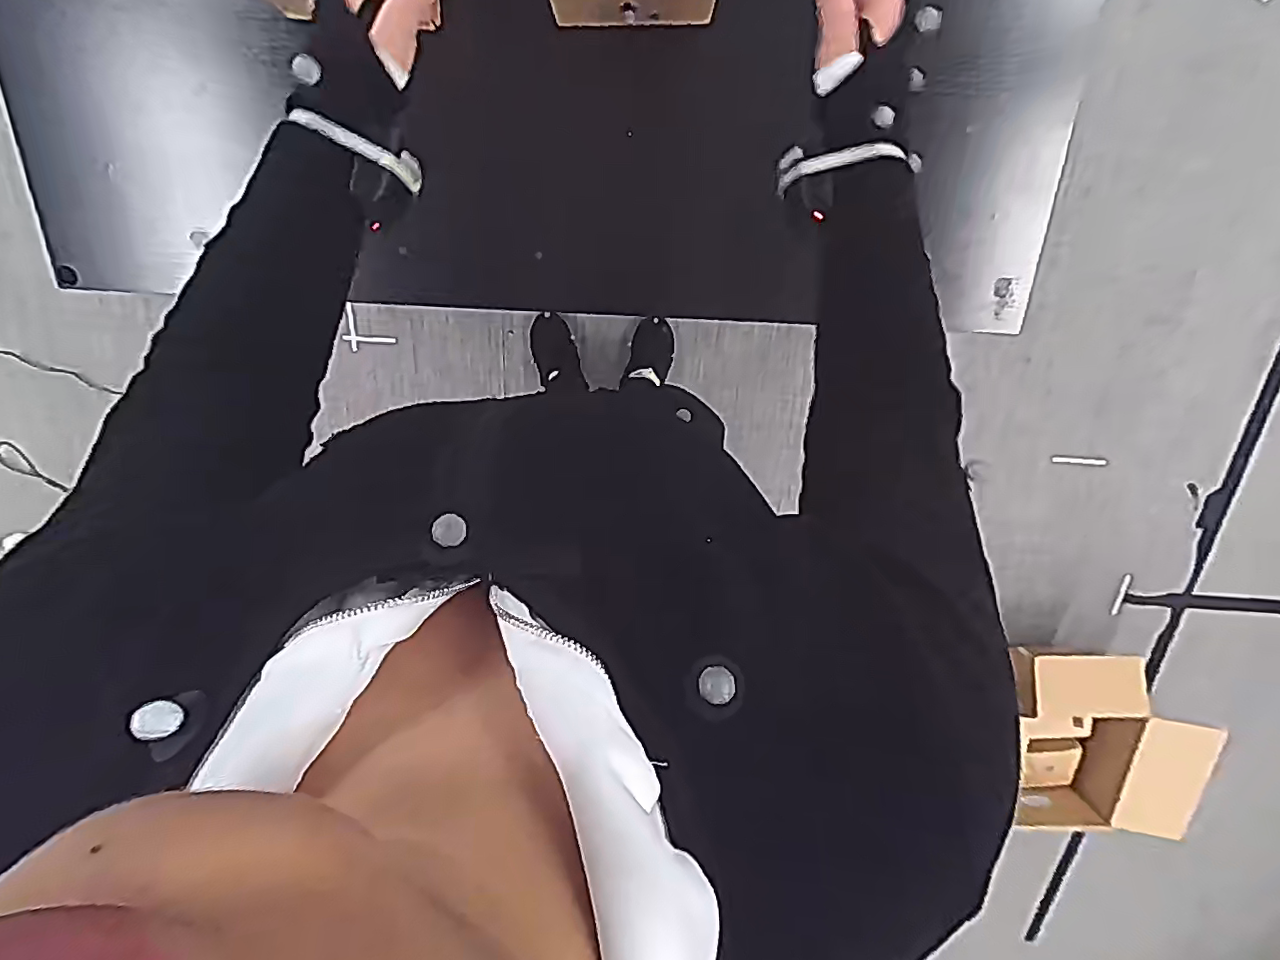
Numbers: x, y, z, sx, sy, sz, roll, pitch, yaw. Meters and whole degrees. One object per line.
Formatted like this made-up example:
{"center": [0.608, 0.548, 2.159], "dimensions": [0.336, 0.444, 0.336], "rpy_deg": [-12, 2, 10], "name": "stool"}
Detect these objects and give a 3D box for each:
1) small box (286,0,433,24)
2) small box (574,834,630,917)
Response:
{"center": [-0.296, -0.554, 0.478], "dimensions": [0.168, 0.176, 0.179], "rpy_deg": [4, 110, -1], "name": "small box"}
{"center": [-0.129, 1.370, 1.879], "dimensions": [0.179, 0.176, 0.168], "rpy_deg": [5, 107, 0], "name": "small box"}
